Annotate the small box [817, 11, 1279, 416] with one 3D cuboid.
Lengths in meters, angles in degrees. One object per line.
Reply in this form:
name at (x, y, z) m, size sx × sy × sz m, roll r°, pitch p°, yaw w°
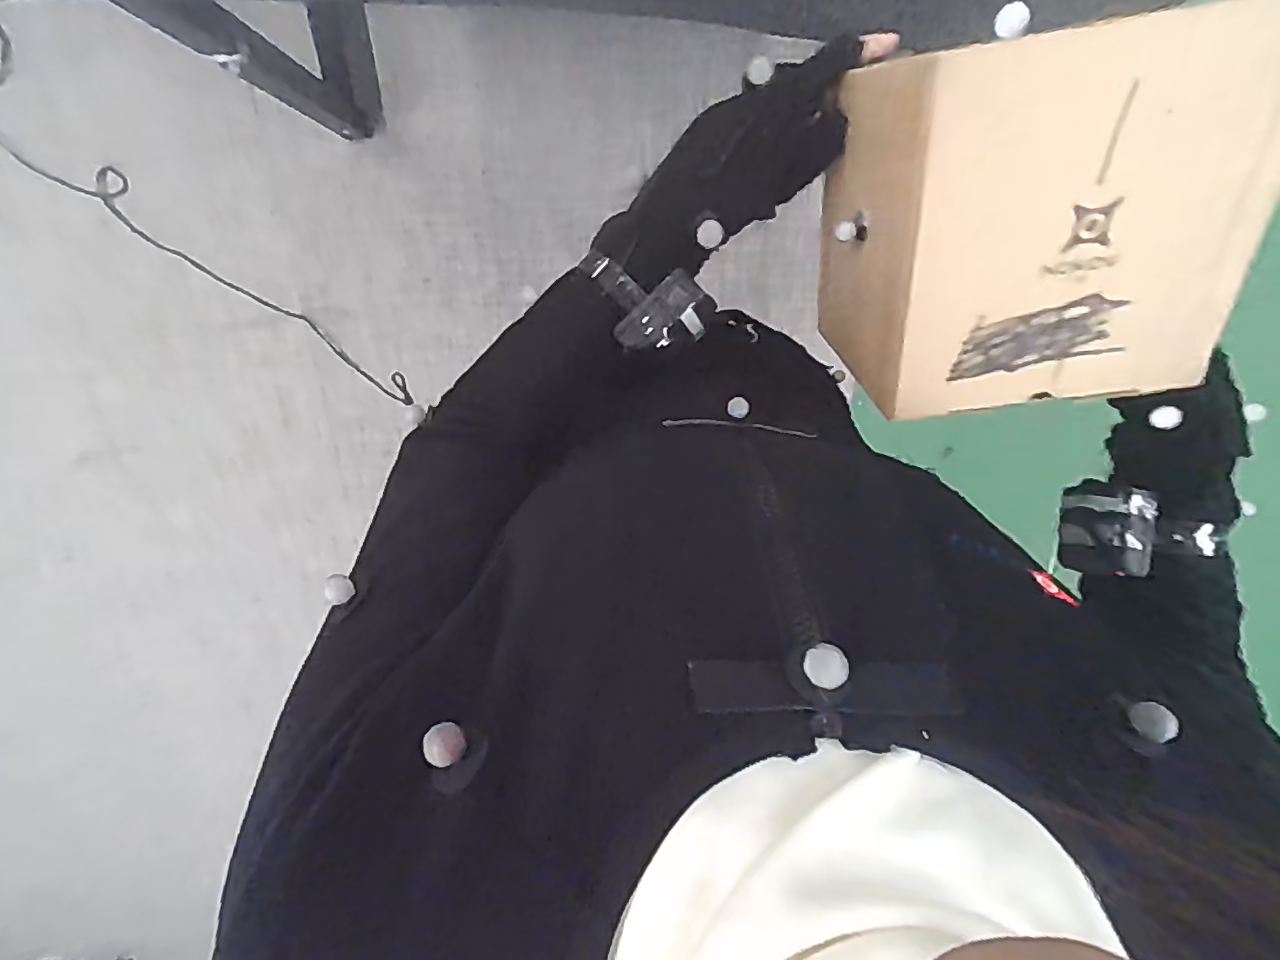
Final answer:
small box at (0.217, -0.160, 0.340) m, size 0.168 × 0.176 × 0.179 m, roll -6°, pitch 123°, yaw 5°
